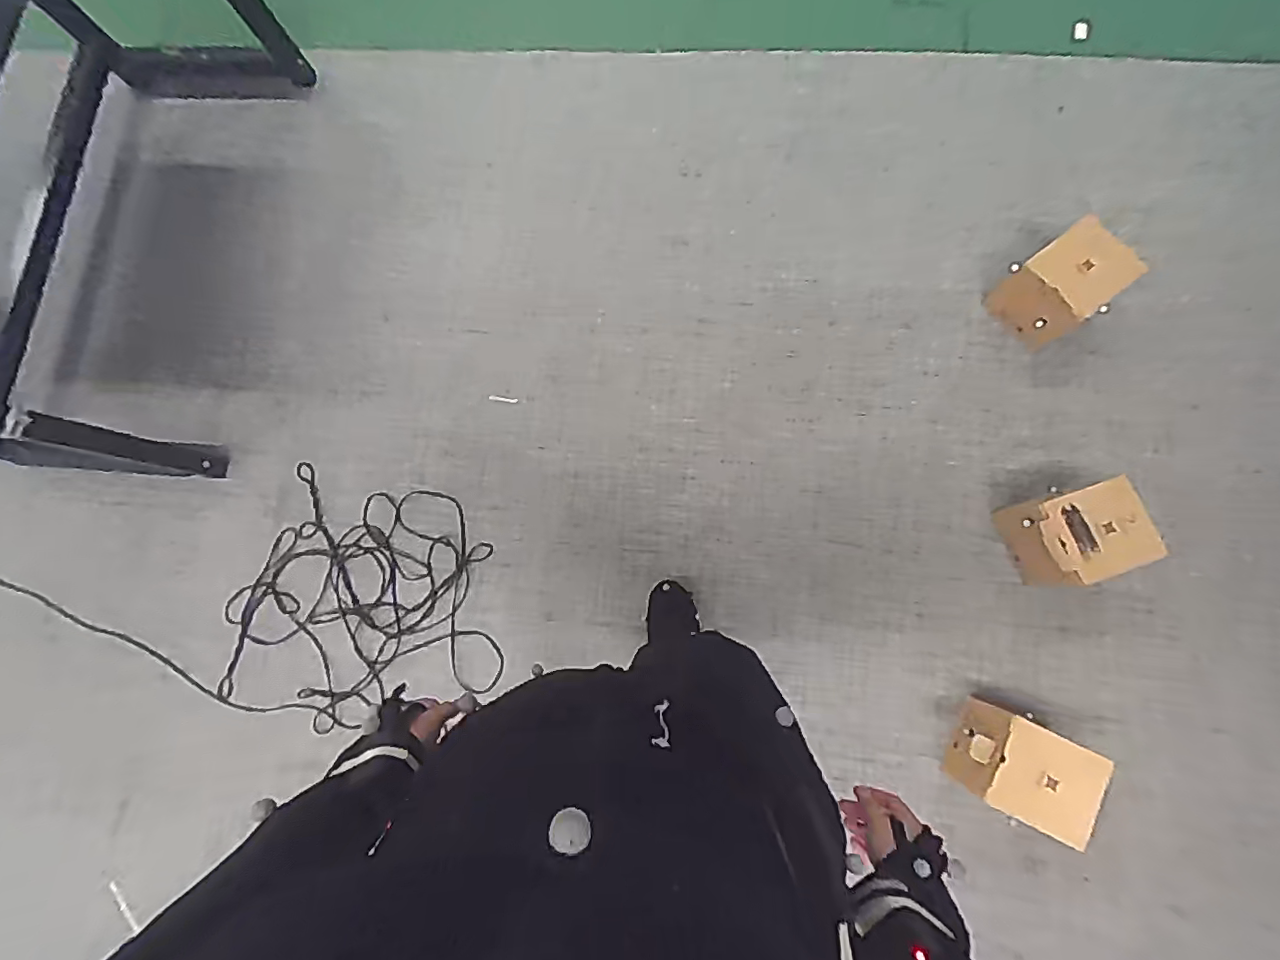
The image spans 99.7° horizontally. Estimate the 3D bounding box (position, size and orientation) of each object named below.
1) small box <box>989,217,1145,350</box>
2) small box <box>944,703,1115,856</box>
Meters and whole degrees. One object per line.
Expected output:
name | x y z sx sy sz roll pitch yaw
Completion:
small box | 0.904 -0.414 1.172 0.179 0.176 0.168 -38 80 -4
small box | 0.717 0.545 1.016 0.179 0.176 0.168 24 83 9
